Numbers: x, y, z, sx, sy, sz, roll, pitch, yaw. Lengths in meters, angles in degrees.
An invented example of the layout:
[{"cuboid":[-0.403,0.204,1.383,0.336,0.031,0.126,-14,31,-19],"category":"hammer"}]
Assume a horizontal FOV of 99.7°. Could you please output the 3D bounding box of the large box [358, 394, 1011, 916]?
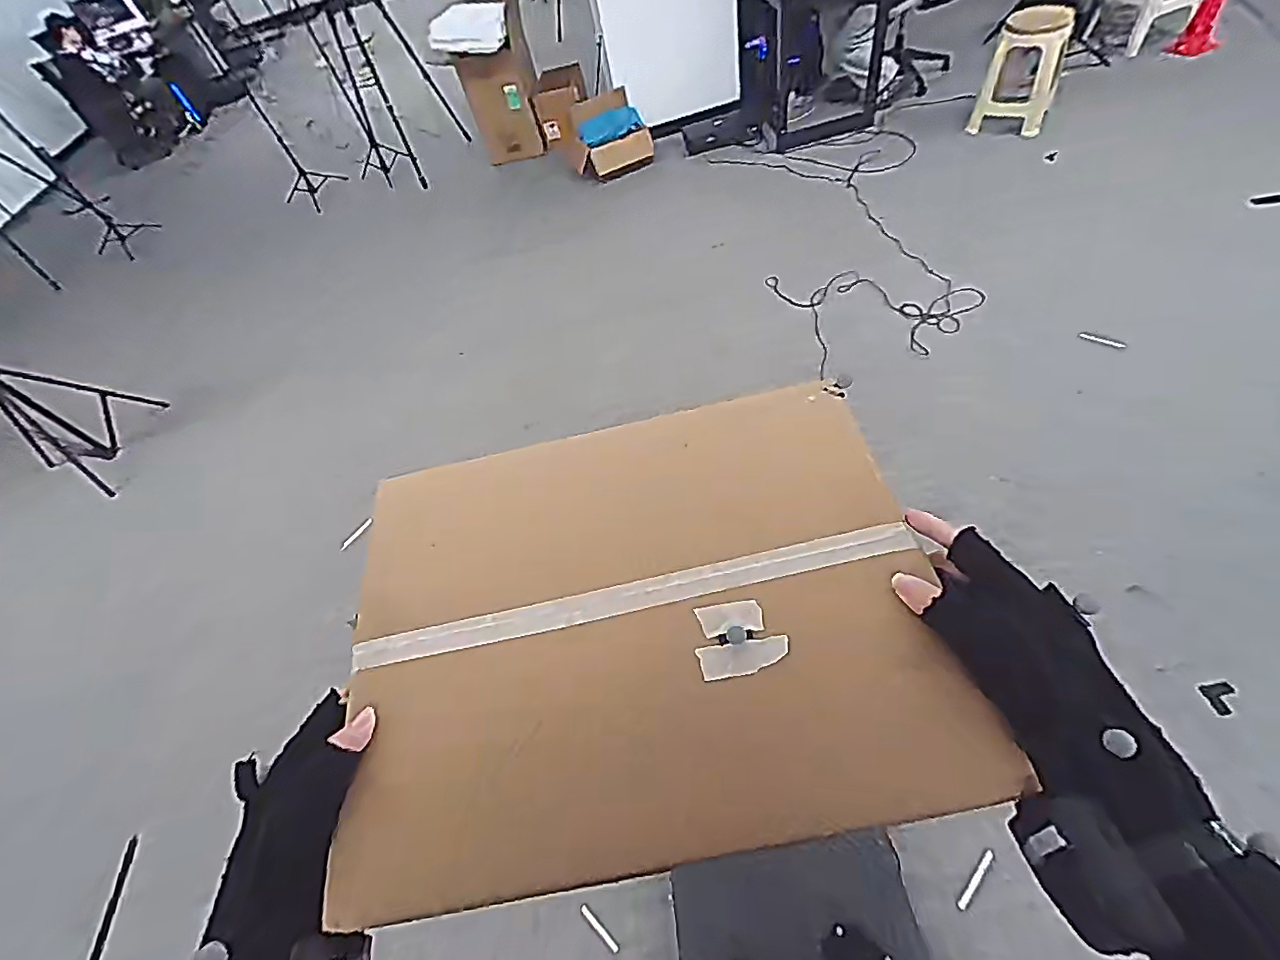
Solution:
[{"cuboid":[0.019,0.172,0.521,0.408,0.320,0.320,-13,56,2],"category":"large box"}]
